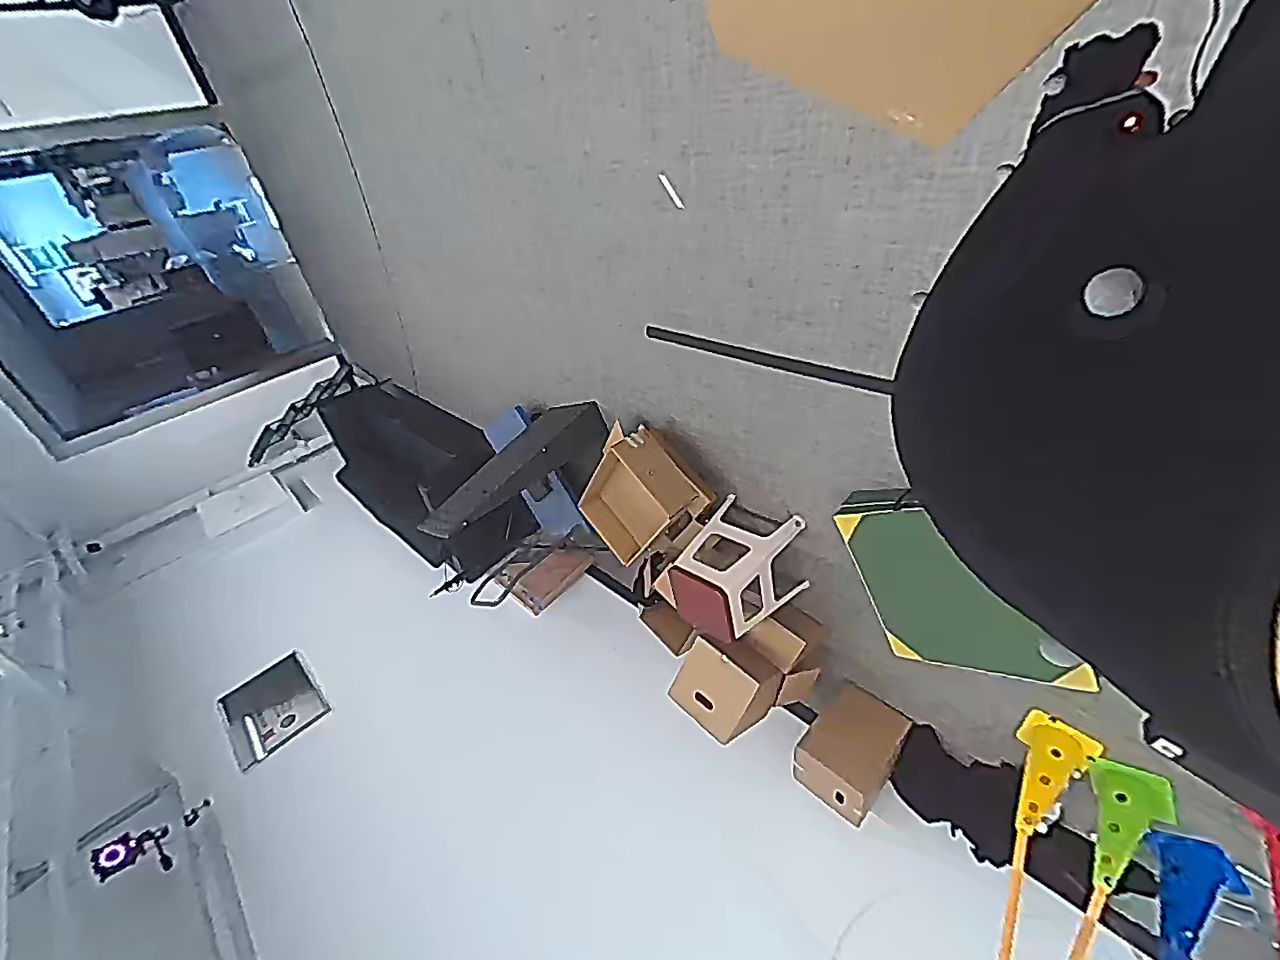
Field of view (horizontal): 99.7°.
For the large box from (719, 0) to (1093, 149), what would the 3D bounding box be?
[{"bbox_3d":[0.261,-0.555,0.463,0.320,0.408,0.320,30,113,3],"label":"large box"}]
